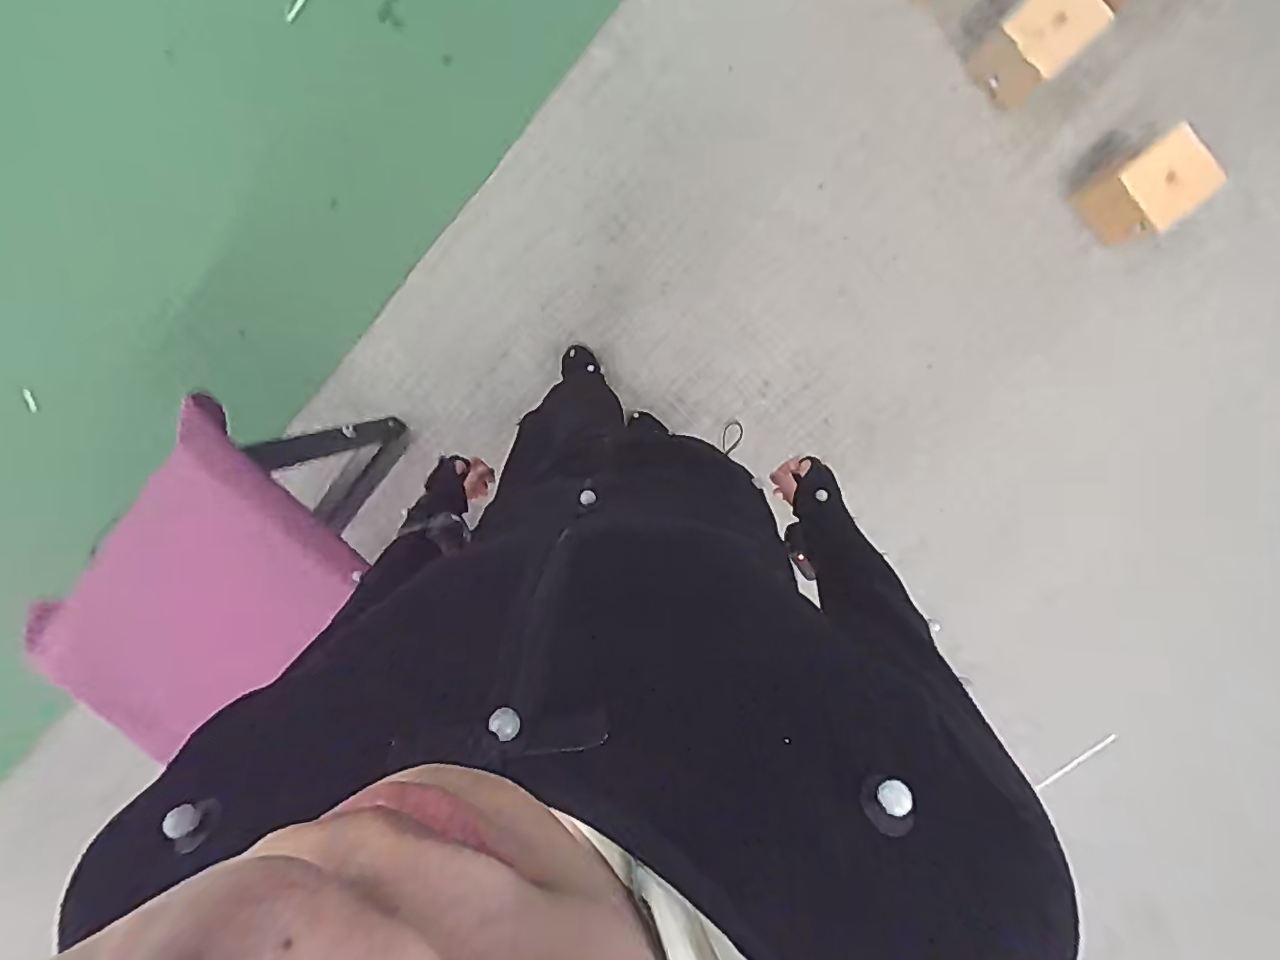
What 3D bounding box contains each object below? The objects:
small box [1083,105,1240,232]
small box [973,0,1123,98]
[{"bbox_3d":[1.213,-0.720,1.275,0.168,0.176,0.179,-43,96,13],"label":"small box"},{"bbox_3d":[0.915,-1.034,1.232,0.179,0.176,0.168,-43,95,13],"label":"small box"}]
